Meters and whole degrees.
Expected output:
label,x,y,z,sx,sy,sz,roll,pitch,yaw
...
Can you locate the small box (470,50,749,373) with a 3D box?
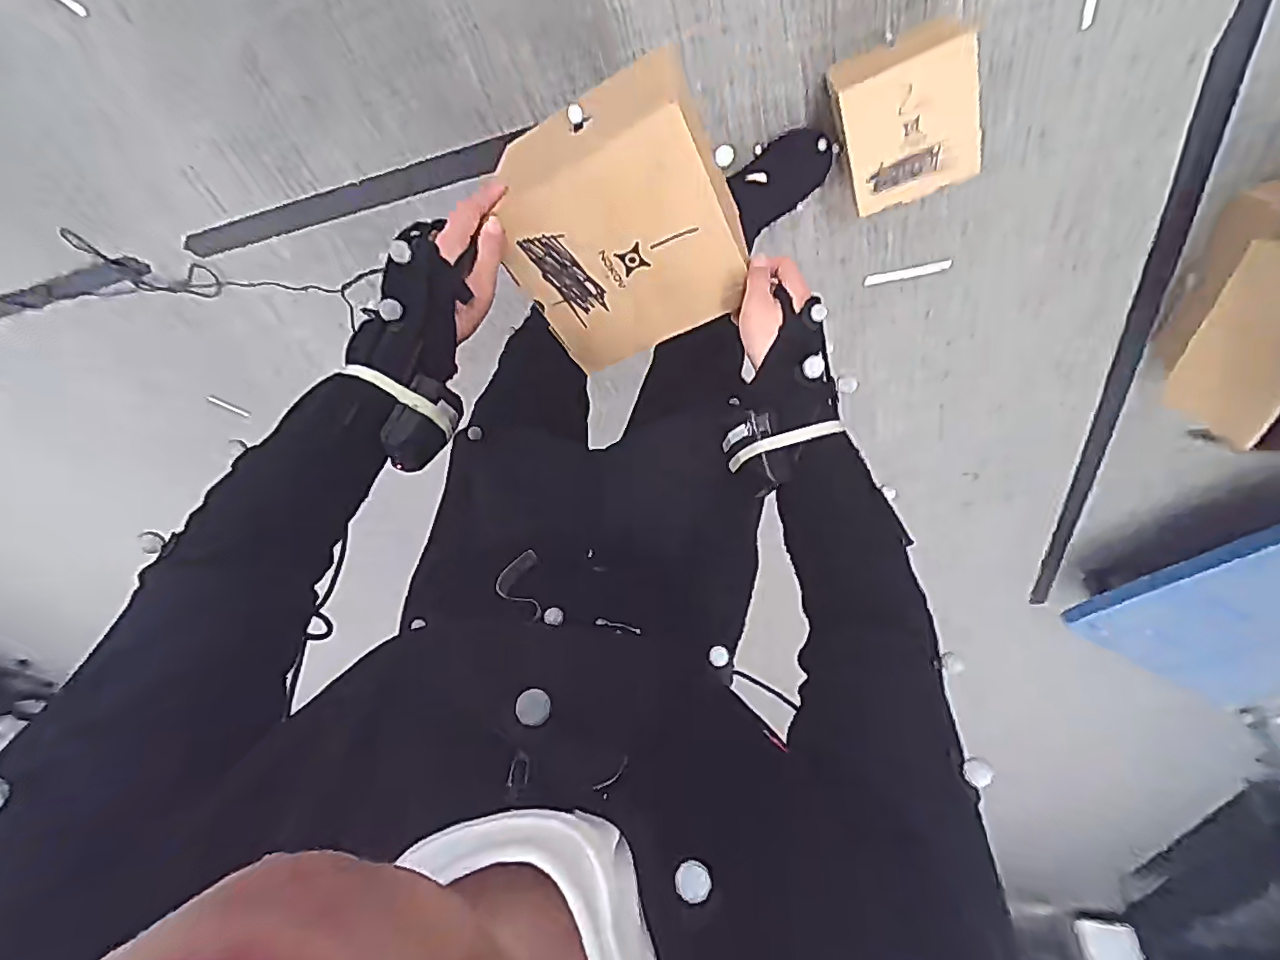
label,x,y,z,sx,sy,sz,roll,pitch,yaw
small box,-0.018,-0.234,0.486,0.179,0.176,0.168,-20,136,21
